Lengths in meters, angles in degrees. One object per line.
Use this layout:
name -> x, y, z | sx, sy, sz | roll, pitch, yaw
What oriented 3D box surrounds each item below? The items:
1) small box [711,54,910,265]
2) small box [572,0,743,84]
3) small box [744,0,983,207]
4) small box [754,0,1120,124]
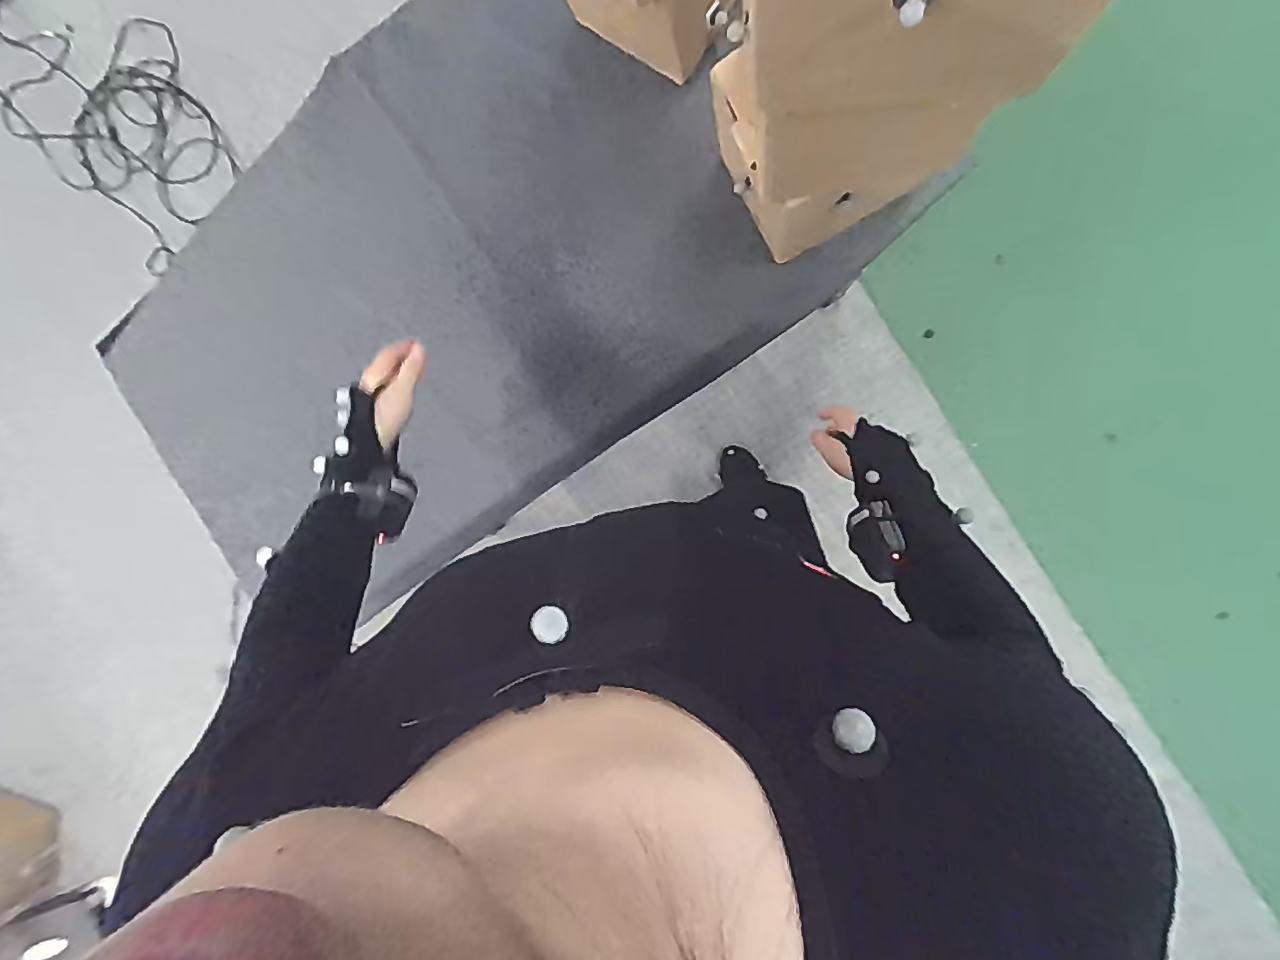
small box -> 0.198, -0.368, 0.592 | 0.179, 0.176, 0.168 | -27, 88, 13
small box -> 0.018, -0.597, 0.604 | 0.179, 0.176, 0.168 | 35, 104, 4
small box -> 0.176, -0.344, 0.432 | 0.179, 0.176, 0.168 | -6, 93, 12
small box -> 0.153, -0.311, 0.270 | 0.179, 0.176, 0.168 | 5, 95, 12
